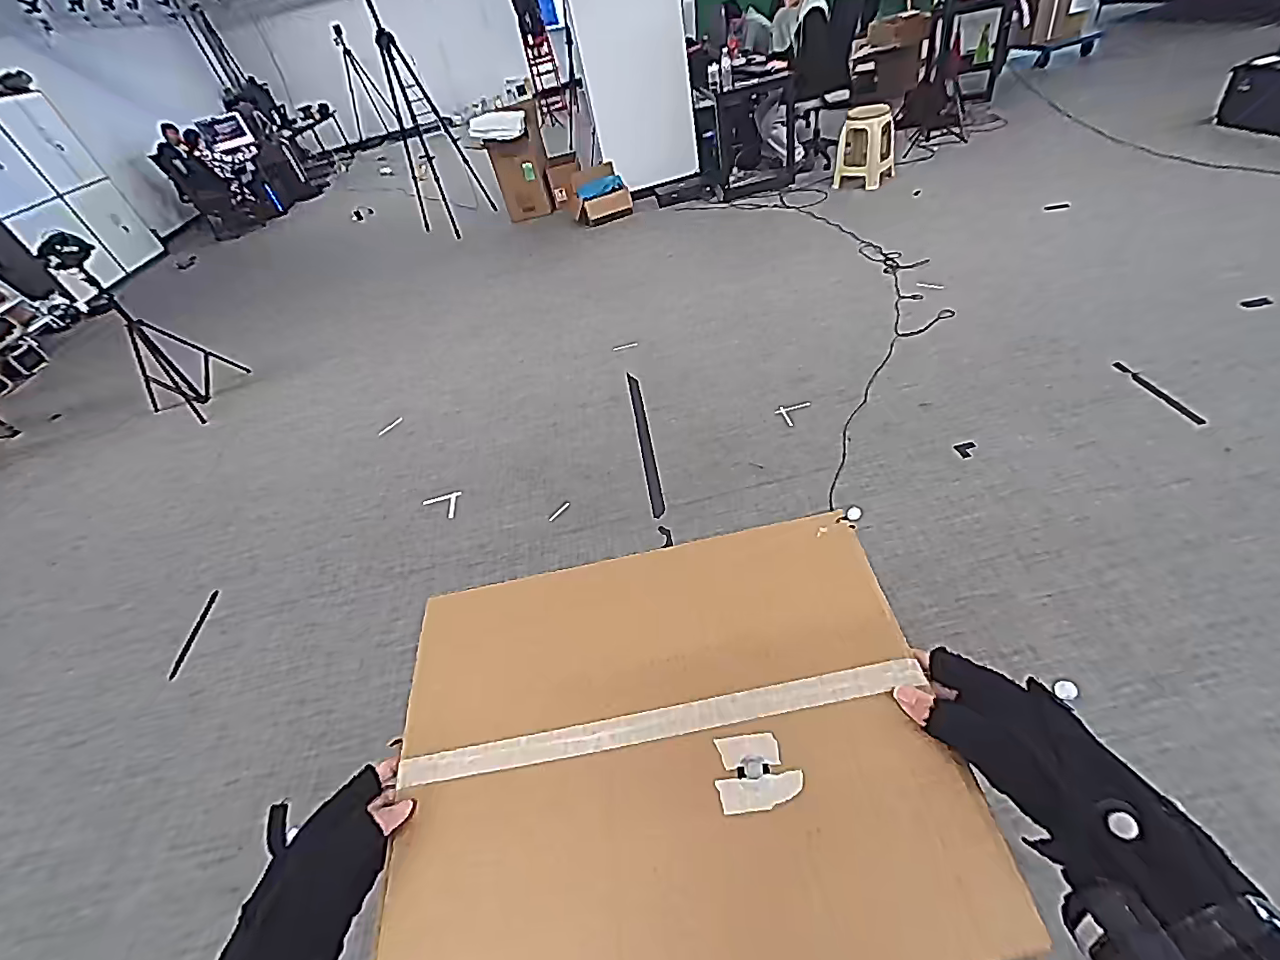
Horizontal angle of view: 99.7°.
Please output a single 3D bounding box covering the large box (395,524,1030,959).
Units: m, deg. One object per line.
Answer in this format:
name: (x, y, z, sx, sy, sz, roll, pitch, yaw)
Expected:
large box: (0.042, 0.293, 0.529, 0.408, 0.320, 0.320, -13, 48, 3)
